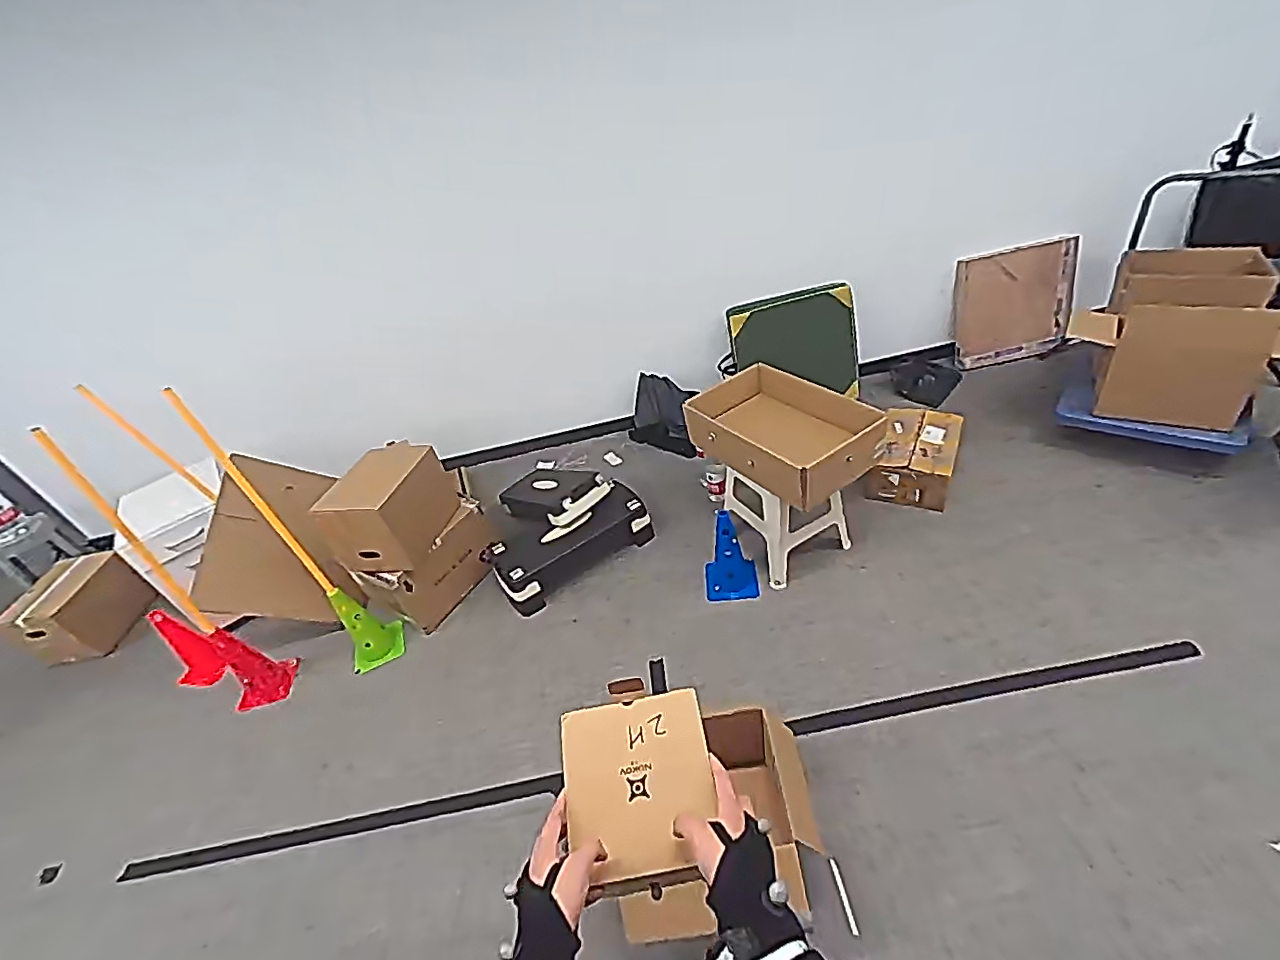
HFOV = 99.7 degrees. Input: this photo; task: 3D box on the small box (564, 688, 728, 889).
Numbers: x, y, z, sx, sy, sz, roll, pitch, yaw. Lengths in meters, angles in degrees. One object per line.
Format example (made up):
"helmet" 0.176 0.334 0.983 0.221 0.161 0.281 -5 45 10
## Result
"small box" 0.009 0.380 0.659 0.168 0.176 0.179 -11 49 1
